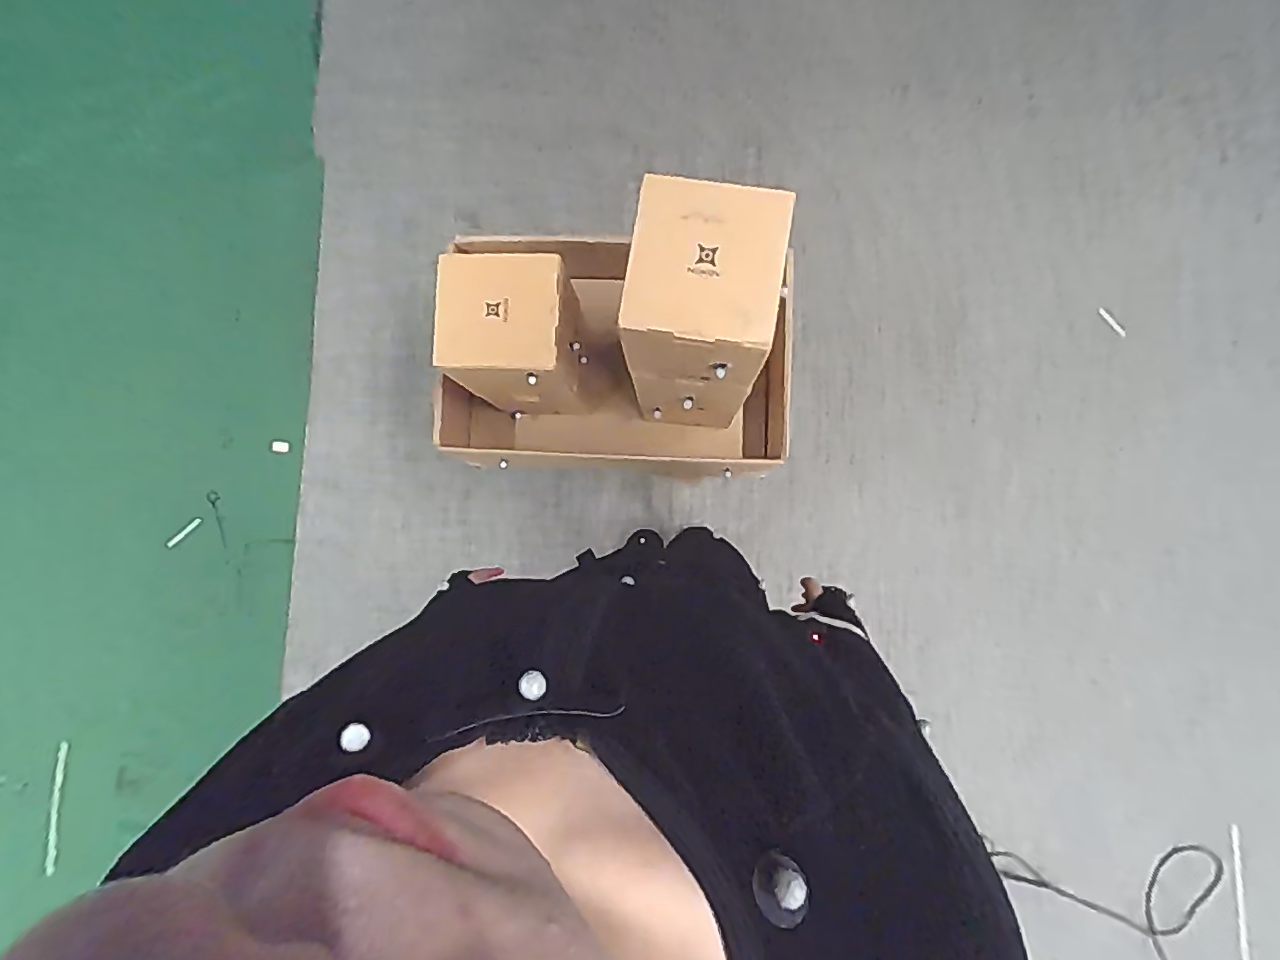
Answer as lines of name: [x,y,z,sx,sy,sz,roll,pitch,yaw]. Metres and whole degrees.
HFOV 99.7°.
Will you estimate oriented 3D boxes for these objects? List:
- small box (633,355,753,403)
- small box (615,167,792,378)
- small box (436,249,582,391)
small box: [0.089,-0.220,0.813,0.168,0.176,0.179,7,87,5]
small box: [0.074,-0.234,0.650,0.168,0.176,0.179,9,85,5]
small box: [-0.193,-0.238,0.838,0.179,0.176,0.168,0,86,3]
